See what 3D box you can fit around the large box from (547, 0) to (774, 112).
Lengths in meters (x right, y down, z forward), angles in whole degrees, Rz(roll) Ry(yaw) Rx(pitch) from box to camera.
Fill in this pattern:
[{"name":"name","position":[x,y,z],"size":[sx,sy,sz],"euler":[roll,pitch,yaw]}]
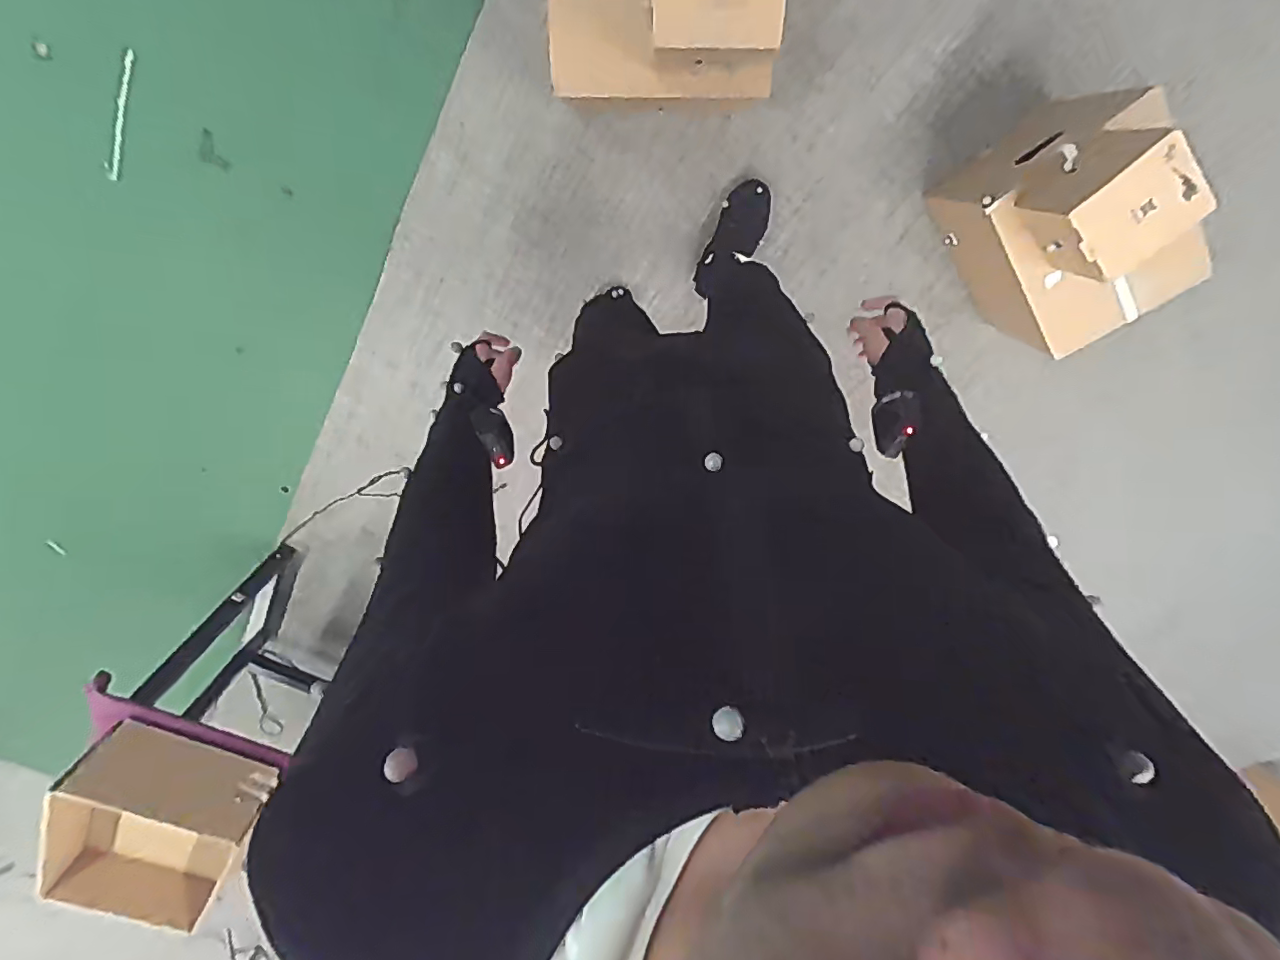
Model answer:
[{"name":"large box","position":[0.046,-0.908,1.044],"size":[0.408,0.320,0.320],"euler":[2,119,3]}]

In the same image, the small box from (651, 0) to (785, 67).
[{"name":"small box","position":[0.101,-0.666,0.708],"size":[0.168,0.176,0.179],"euler":[3,122,2]}]

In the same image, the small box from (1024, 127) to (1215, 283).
[{"name":"small box","position":[0.832,-0.487,0.963],"size":[0.168,0.176,0.179],"euler":[40,116,-19]}]

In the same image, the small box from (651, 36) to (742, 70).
[{"name":"small box","position":[0.107,-0.755,0.844],"size":[0.179,0.176,0.168],"euler":[1,120,3]}]
